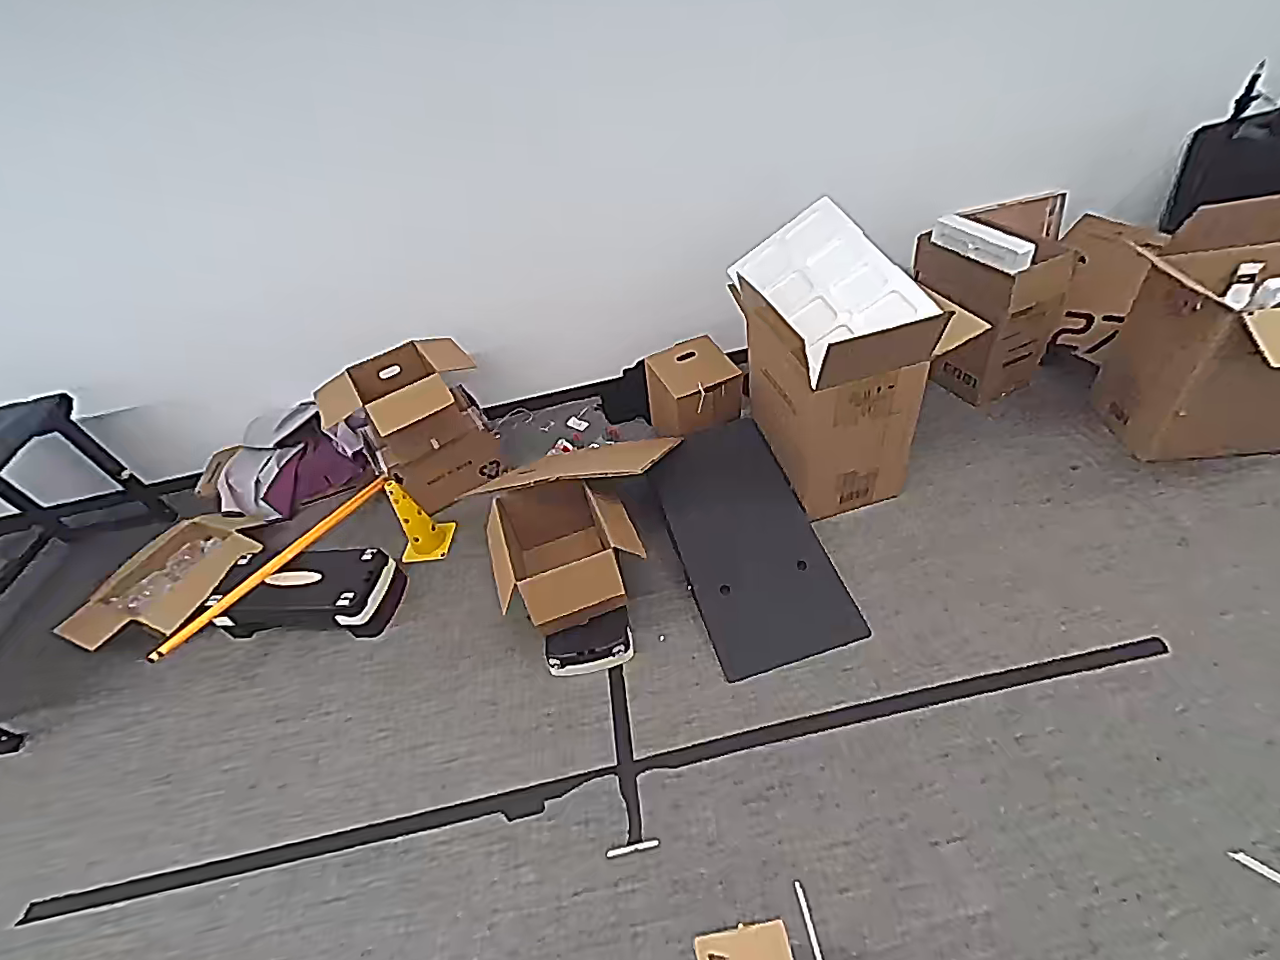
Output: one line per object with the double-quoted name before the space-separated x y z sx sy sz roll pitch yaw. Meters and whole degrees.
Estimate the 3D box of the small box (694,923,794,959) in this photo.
"small box" 0.207 0.951 0.997 0.179 0.176 0.168 -12 43 -1
